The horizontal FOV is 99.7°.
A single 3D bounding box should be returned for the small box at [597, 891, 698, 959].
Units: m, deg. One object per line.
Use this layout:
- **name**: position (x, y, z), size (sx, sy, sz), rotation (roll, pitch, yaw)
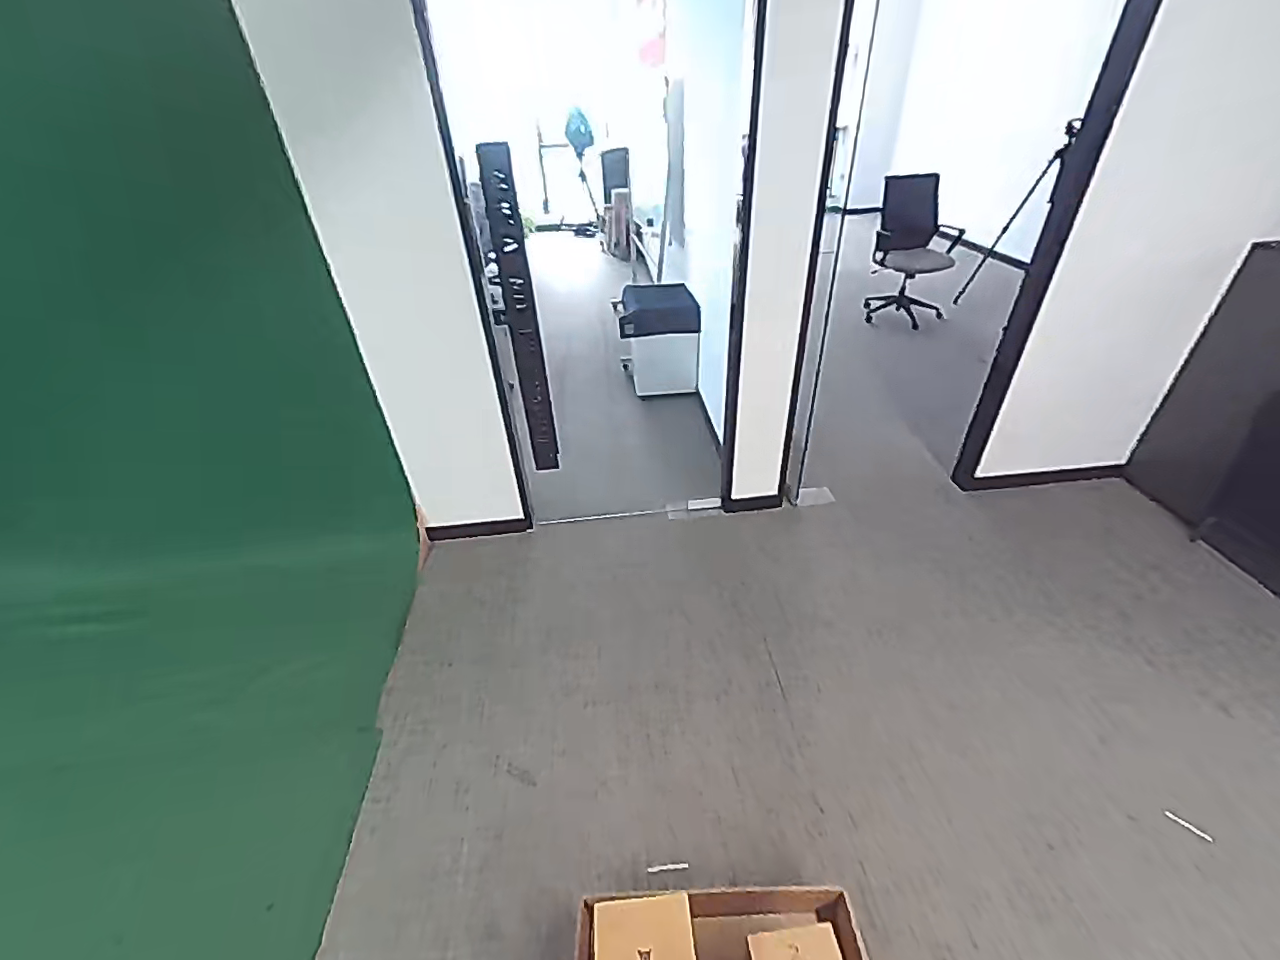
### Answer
- **small box**: position (0.014, 0.831, 0.907), size (0.168, 0.176, 0.179), rotation (-5, 36, -2)
